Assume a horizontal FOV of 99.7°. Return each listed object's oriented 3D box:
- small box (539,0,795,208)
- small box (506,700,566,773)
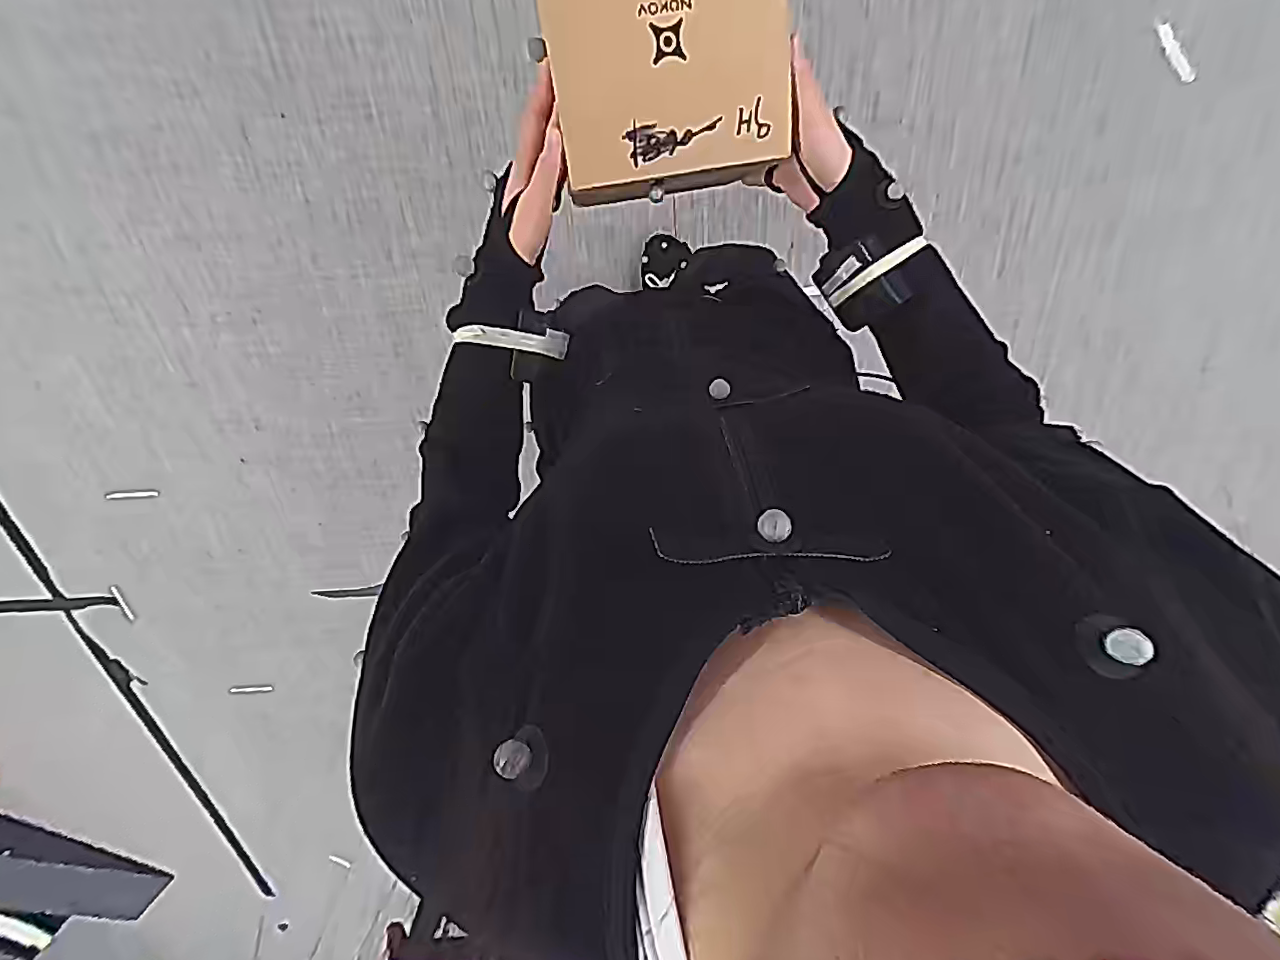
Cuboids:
[{"bbox_3d":[0.012,-0.330,0.430,0.168,0.176,0.179,-10,113,-2],"label":"small box"},{"bbox_3d":[-0.376,0.931,1.974,0.179,0.176,0.168,11,116,-8],"label":"small box"}]
